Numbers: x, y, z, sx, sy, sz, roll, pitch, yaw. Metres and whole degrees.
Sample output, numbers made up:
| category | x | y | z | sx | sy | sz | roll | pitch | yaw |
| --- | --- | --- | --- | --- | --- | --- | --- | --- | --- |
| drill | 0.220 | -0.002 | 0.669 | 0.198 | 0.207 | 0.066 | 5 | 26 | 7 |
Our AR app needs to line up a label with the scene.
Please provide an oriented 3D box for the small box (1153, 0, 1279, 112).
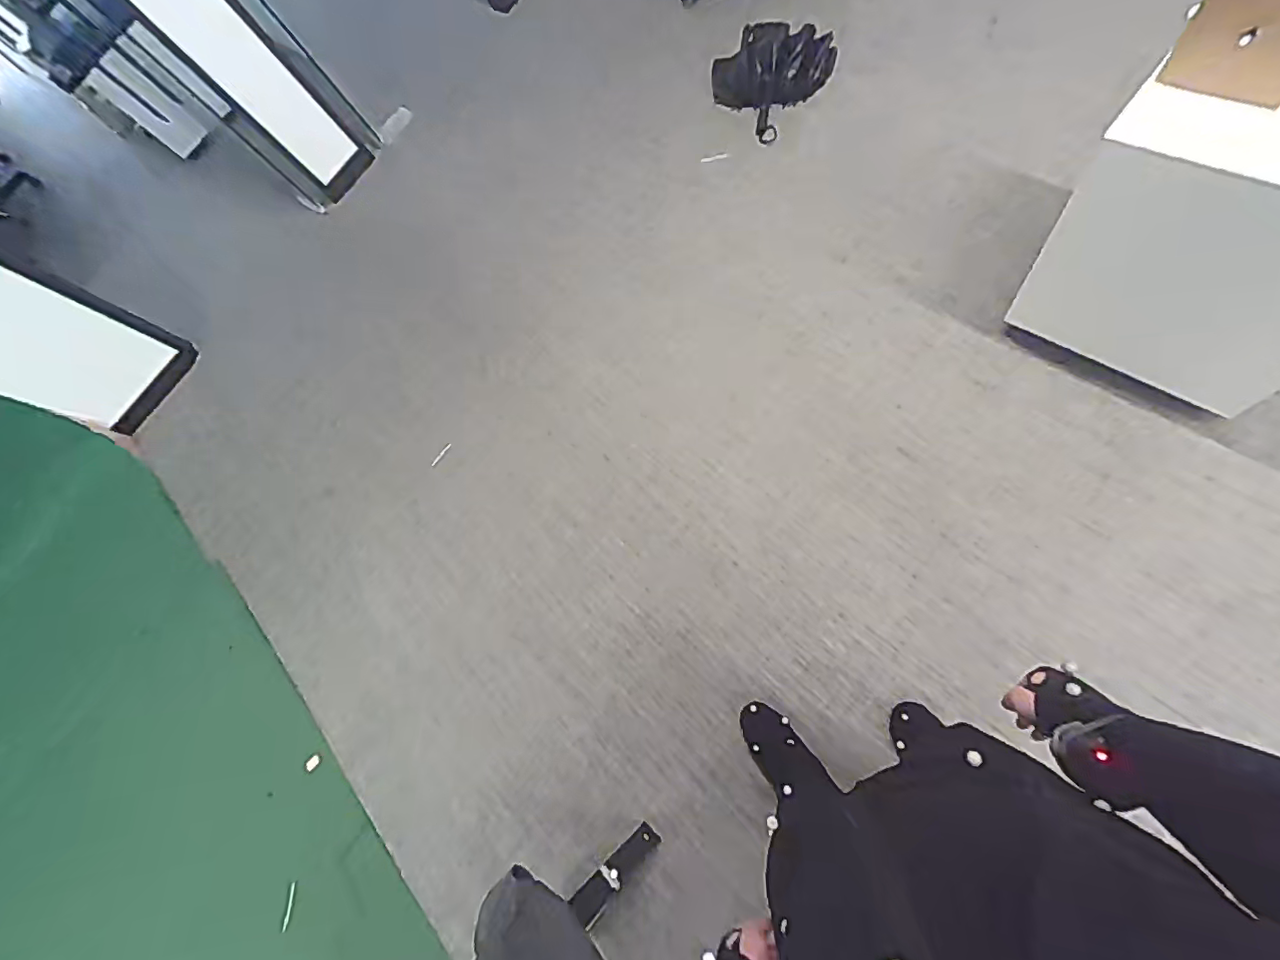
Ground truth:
| category | x | y | z | sx | sy | sz | roll | pitch | yaw |
| --- | --- | --- | --- | --- | --- | --- | --- | --- | --- |
| small box | 0.947 | -0.698 | 0.808 | 0.179 | 0.176 | 0.168 | 37 | 86 | 25 |
